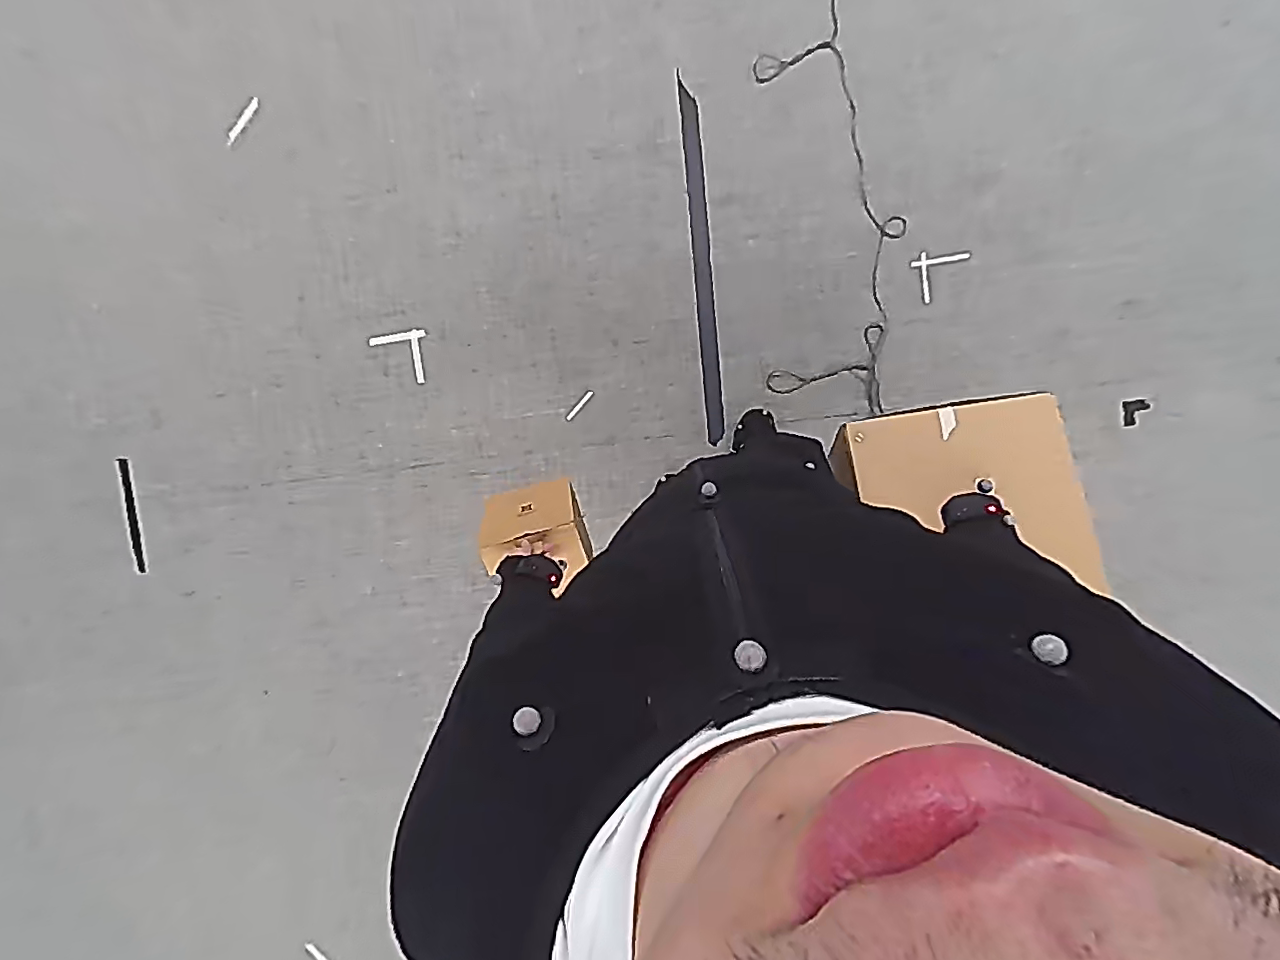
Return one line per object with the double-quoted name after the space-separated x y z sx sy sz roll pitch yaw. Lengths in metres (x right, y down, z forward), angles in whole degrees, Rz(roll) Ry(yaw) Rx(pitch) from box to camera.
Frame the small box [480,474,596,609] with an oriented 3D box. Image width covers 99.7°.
-0.186 0.118 1.005 0.168 0.179 0.176 -15 119 -4 "small box"
